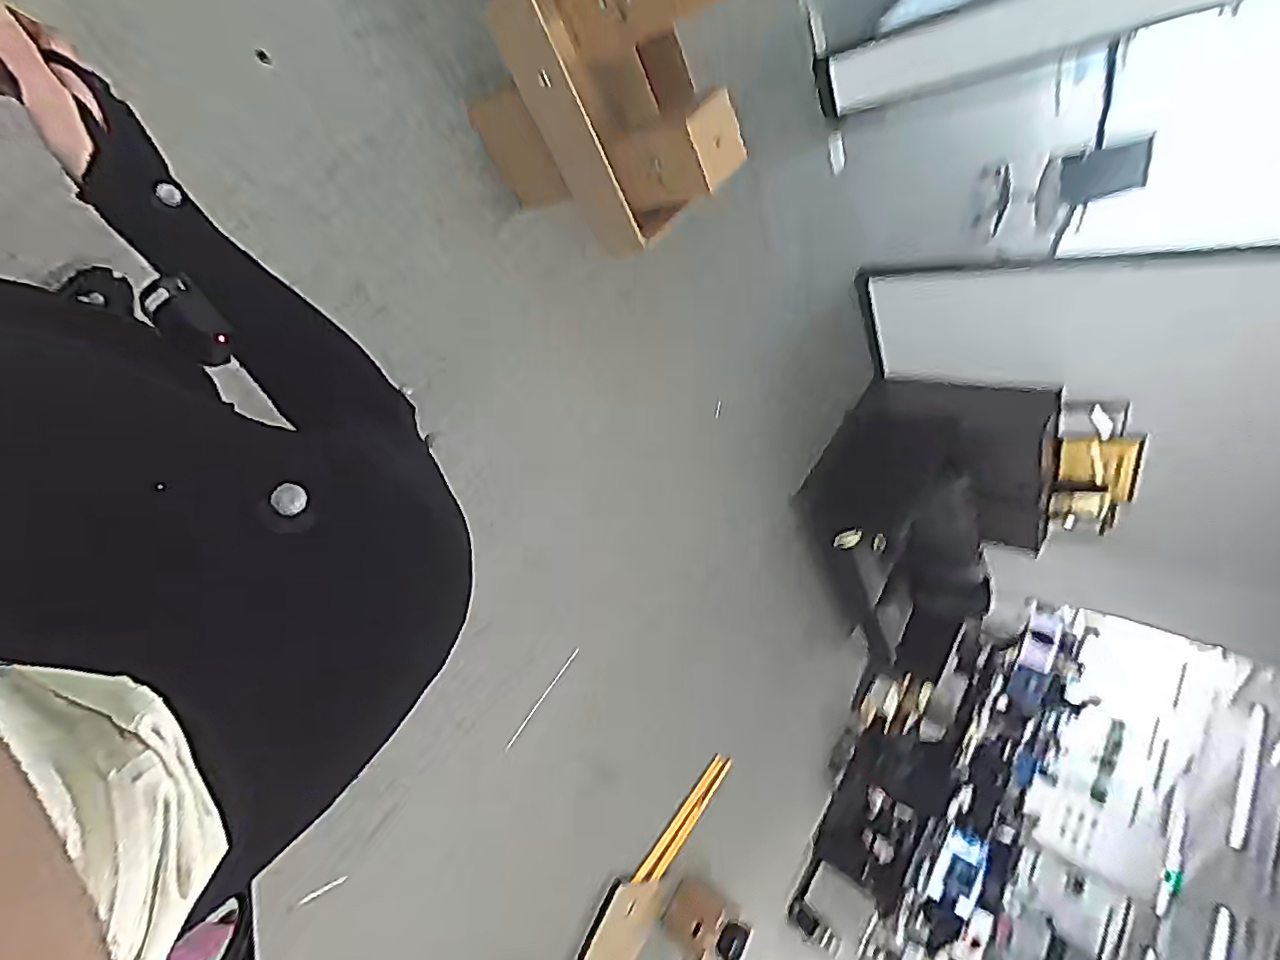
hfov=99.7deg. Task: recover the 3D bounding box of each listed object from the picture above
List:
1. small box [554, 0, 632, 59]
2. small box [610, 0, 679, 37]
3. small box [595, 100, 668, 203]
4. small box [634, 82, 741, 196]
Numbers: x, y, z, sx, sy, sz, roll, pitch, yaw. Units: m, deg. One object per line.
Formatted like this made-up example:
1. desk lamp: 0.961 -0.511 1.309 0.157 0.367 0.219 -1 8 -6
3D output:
1. small box: -0.078 -1.140 1.276 0.179 0.176 0.168 -50 133 -23
2. small box: 0.038 -1.105 1.166 0.179 0.176 0.168 -48 131 -24
3. small box: 0.002 -0.866 1.441 0.179 0.176 0.168 -53 134 -22
4. small box: 0.116 -0.832 1.330 0.179 0.176 0.168 -53 133 -21
